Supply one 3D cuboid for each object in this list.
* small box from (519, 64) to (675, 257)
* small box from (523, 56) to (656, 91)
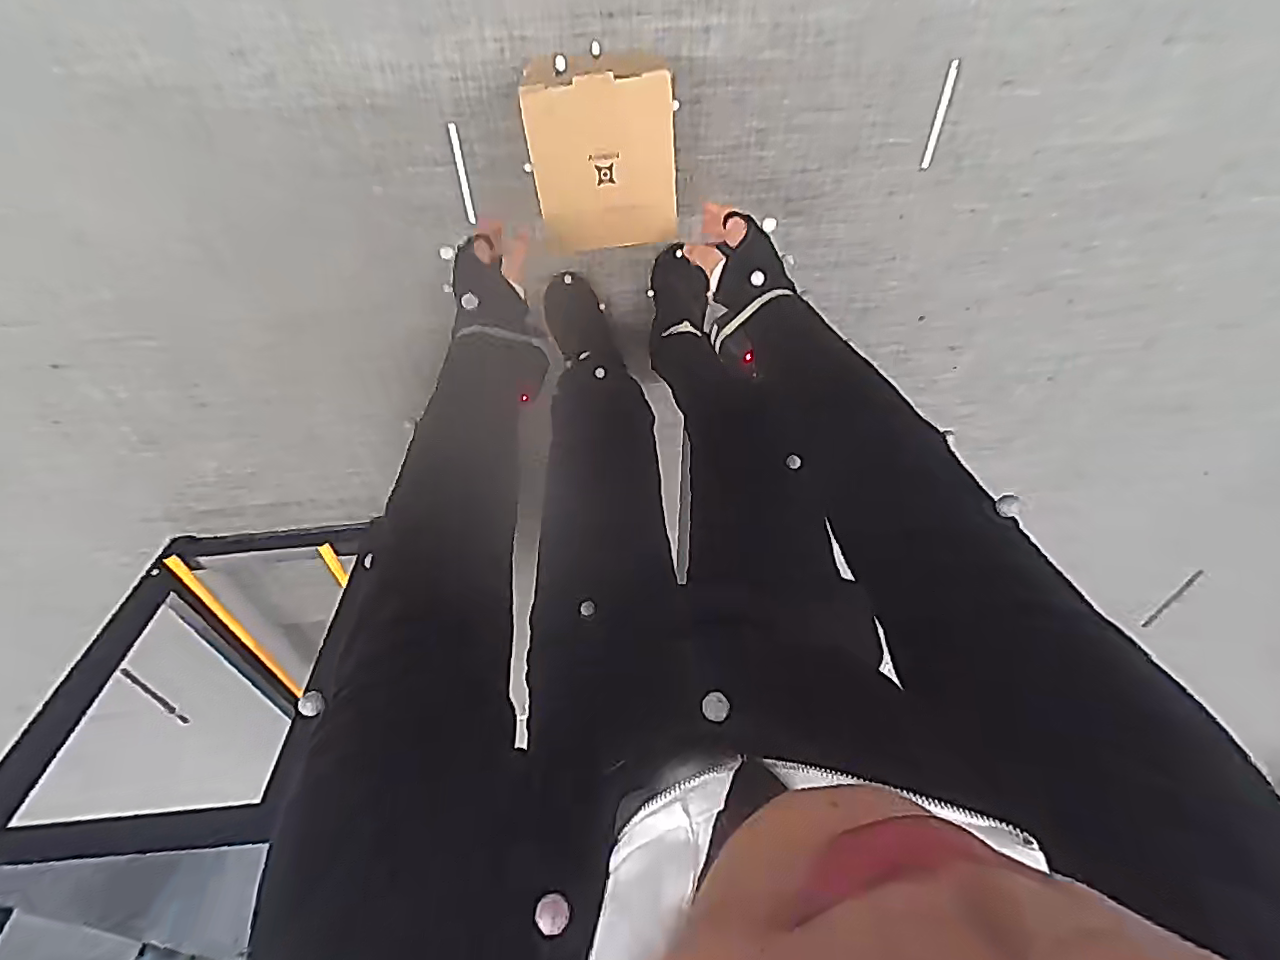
[{"bbox_3d":[-0.049,-0.412,0.691,0.168,0.176,0.179,-7,133,2],"label":"small box"},{"bbox_3d":[-0.066,-0.521,0.810,0.179,0.176,0.168,-6,132,-1],"label":"small box"}]
